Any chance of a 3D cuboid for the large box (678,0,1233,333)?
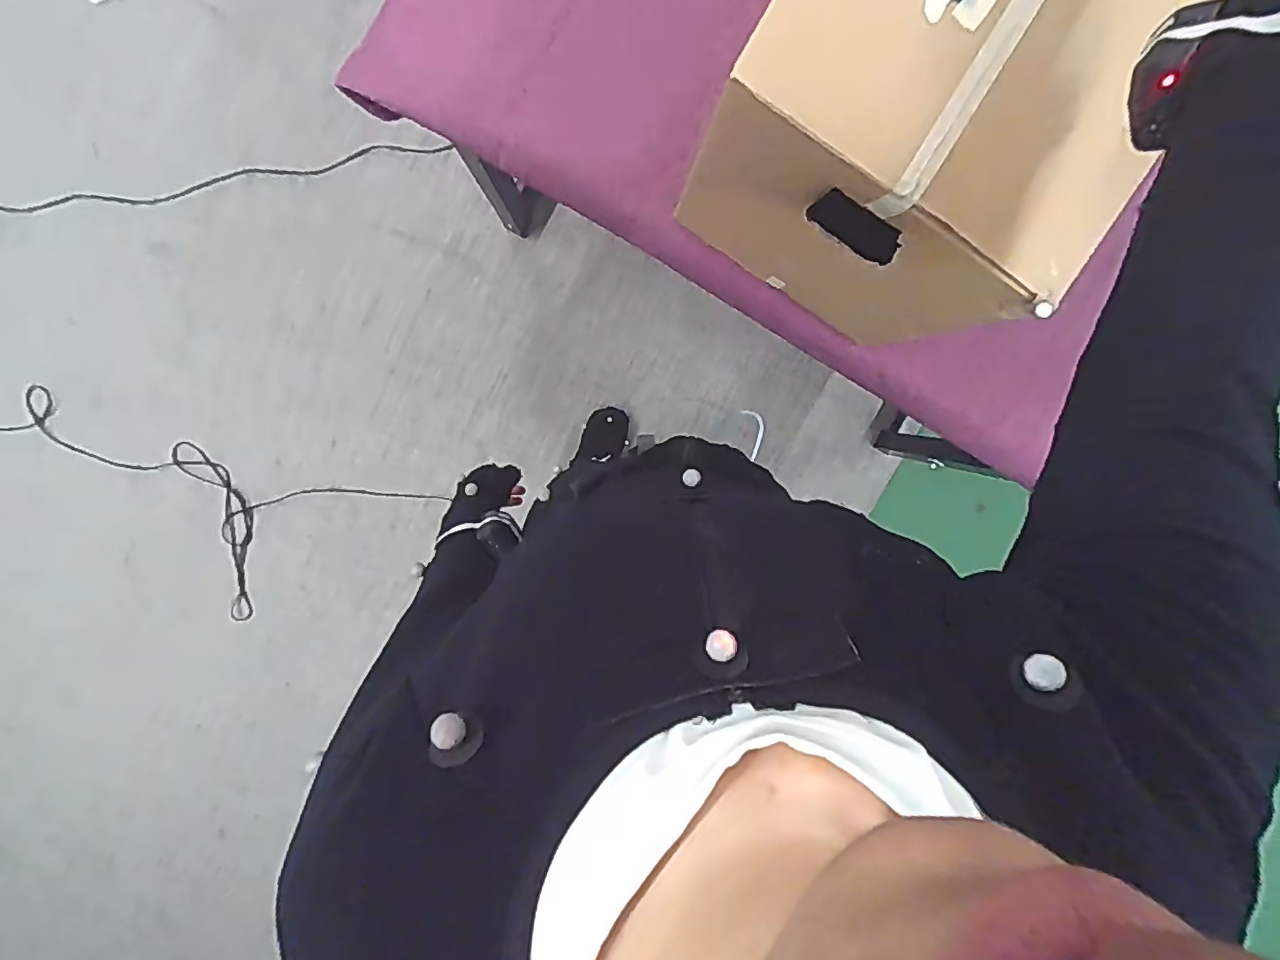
[{"bbox_3d":[0.285,-0.416,0.553,0.320,0.320,0.408,31,96,-8],"label":"large box"}]
